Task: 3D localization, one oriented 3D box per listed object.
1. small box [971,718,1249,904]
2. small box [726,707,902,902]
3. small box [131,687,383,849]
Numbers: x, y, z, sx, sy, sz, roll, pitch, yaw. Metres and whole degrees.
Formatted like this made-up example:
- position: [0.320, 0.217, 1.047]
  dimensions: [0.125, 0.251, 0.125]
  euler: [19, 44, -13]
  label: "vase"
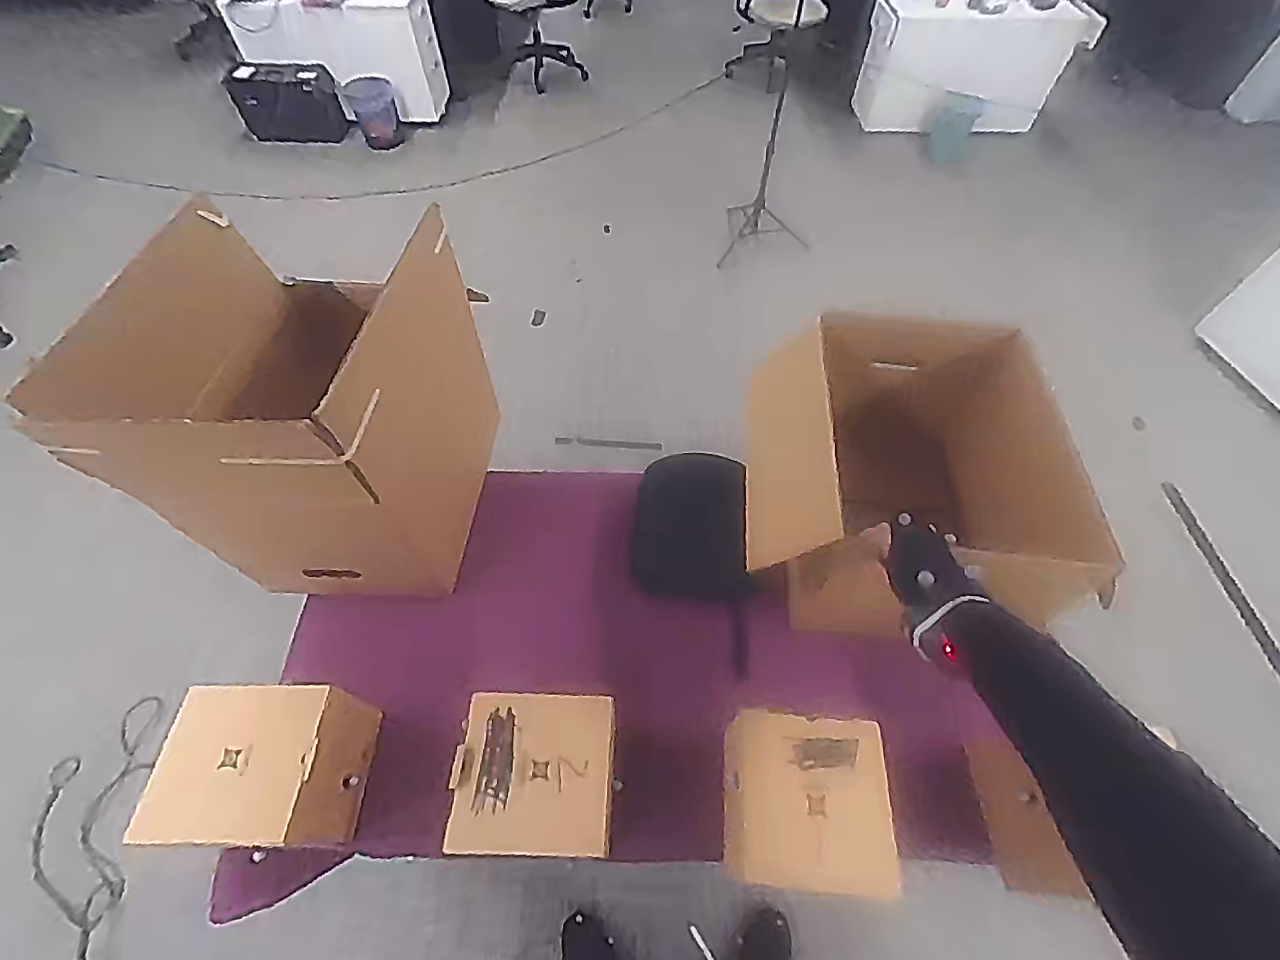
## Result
- position: [0.550, 0.407, 0.670]
  dimensions: [0.168, 0.176, 0.179]
  euler: [1, 56, 2]
  label: "small box"
- position: [0.200, 0.400, 0.675]
  dimensions: [0.168, 0.176, 0.179]
  euler: [5, 58, 3]
  label: "small box"
- position: [-0.464, 0.371, 0.691]
  dimensions: [0.179, 0.176, 0.168]
  euler: [0, 56, -2]
  label: "small box"
